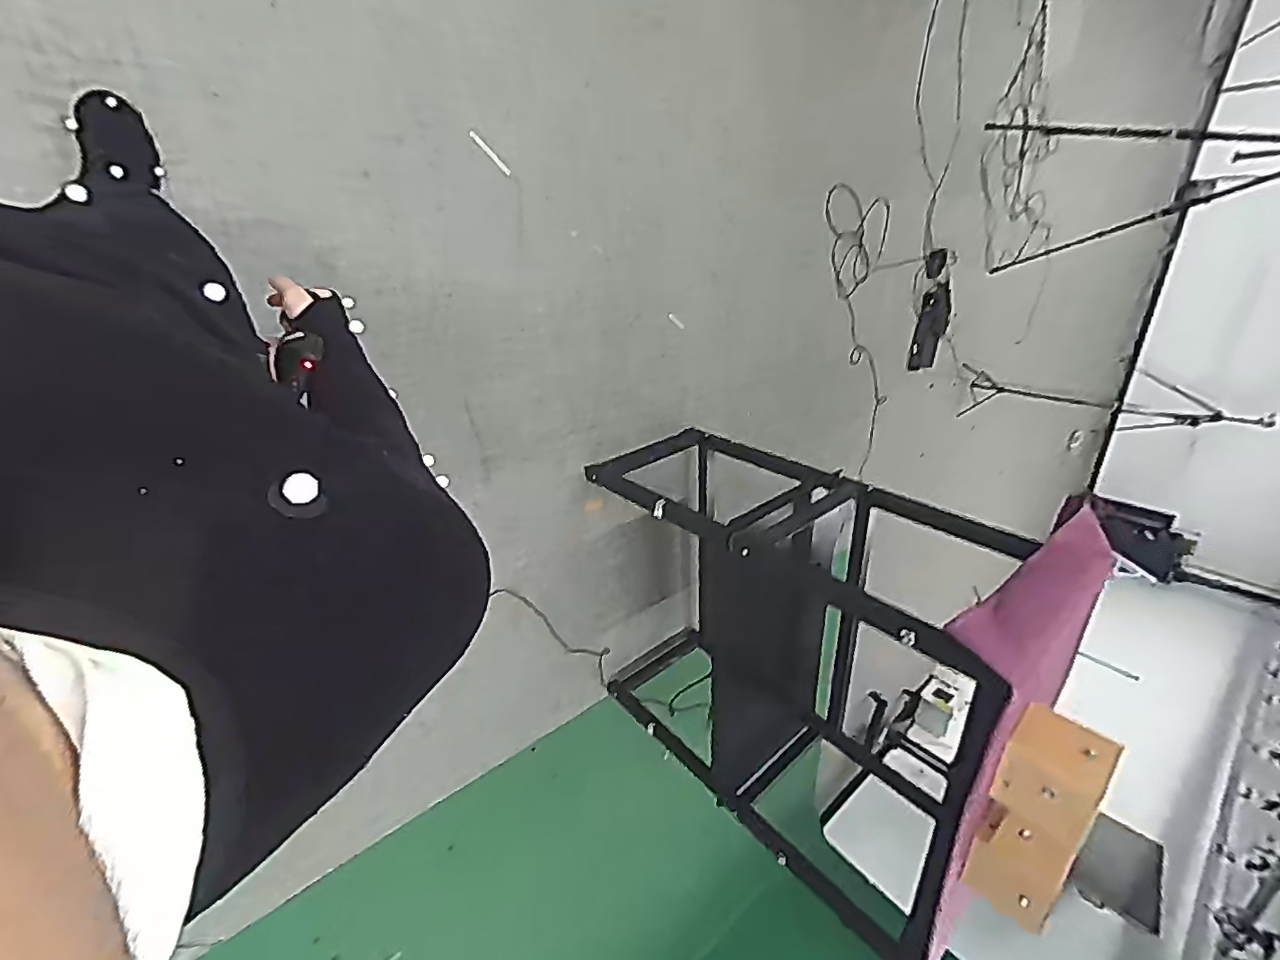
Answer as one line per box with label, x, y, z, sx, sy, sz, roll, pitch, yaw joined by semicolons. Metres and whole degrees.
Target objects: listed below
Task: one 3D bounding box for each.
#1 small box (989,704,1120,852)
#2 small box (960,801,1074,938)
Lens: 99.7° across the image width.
small box;0.875;0.624;1.152;0.179;0.176;0.168;-23;121;-36
small box;0.887;0.905;1.279;0.168;0.176;0.179;-21;121;-35
